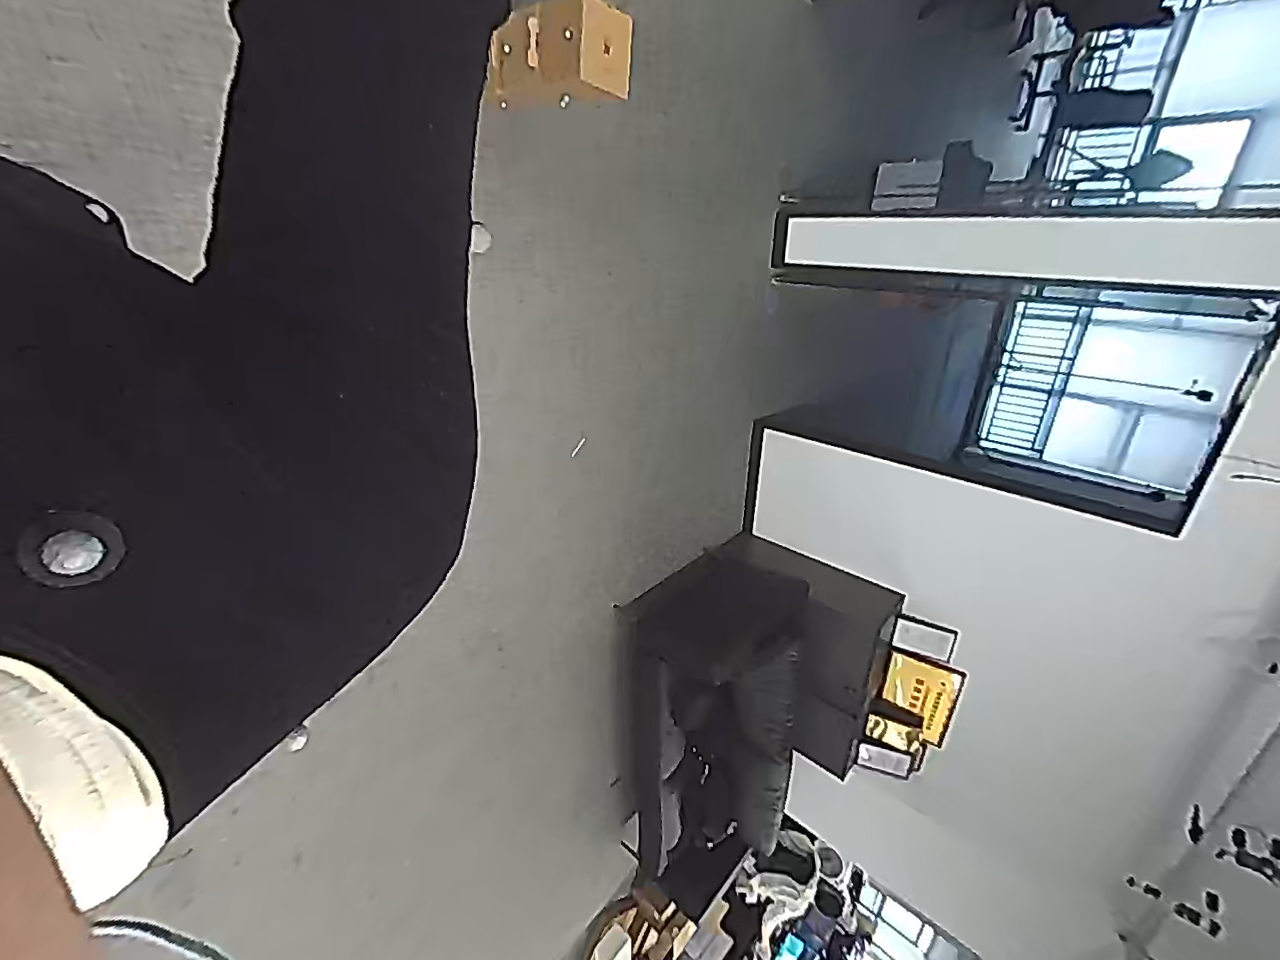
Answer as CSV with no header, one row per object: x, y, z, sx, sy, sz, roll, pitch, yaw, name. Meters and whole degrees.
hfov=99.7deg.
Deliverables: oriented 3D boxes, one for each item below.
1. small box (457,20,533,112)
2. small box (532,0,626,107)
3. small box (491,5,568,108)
-0.407,-1.172,1.546,0.179,0.176,0.168,-21,123,-44,small box
-0.156,-1.073,1.361,0.168,0.176,0.179,-16,119,-46,small box
-0.277,-1.127,1.456,0.179,0.176,0.168,-17,119,-47,small box
